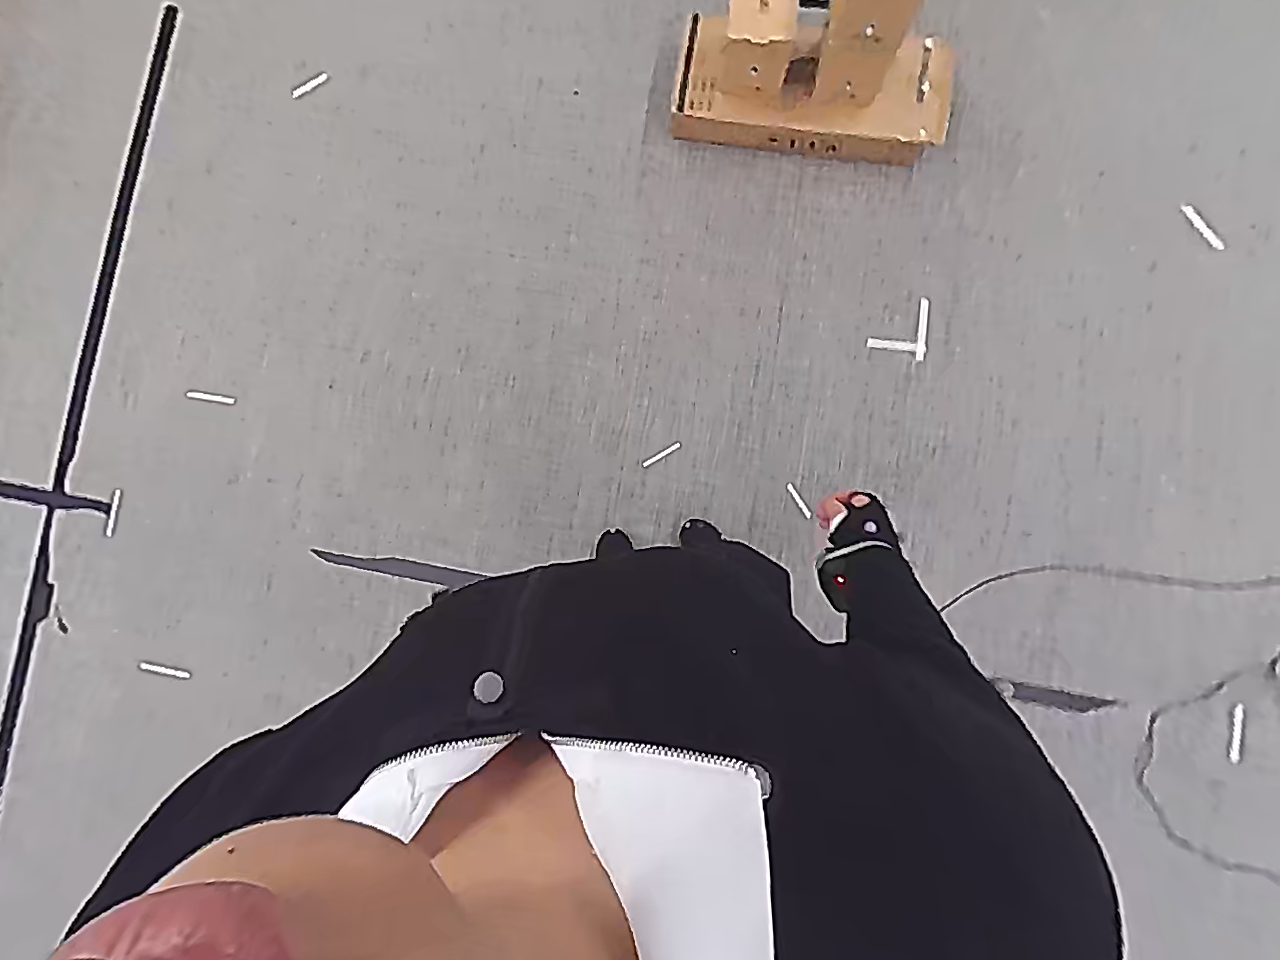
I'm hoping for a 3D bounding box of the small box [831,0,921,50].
[{"bbox_3d":[0.543,-1.124,1.211,0.168,0.176,0.179,12,86,5],"label":"small box"}]

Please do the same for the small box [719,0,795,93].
[{"bbox_3d":[0.298,-1.140,1.391,0.168,0.176,0.179,6,86,4],"label":"small box"}]

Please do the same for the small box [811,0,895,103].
[{"bbox_3d":[0.544,-1.110,1.375,0.168,0.176,0.179,8,86,4],"label":"small box"}]
